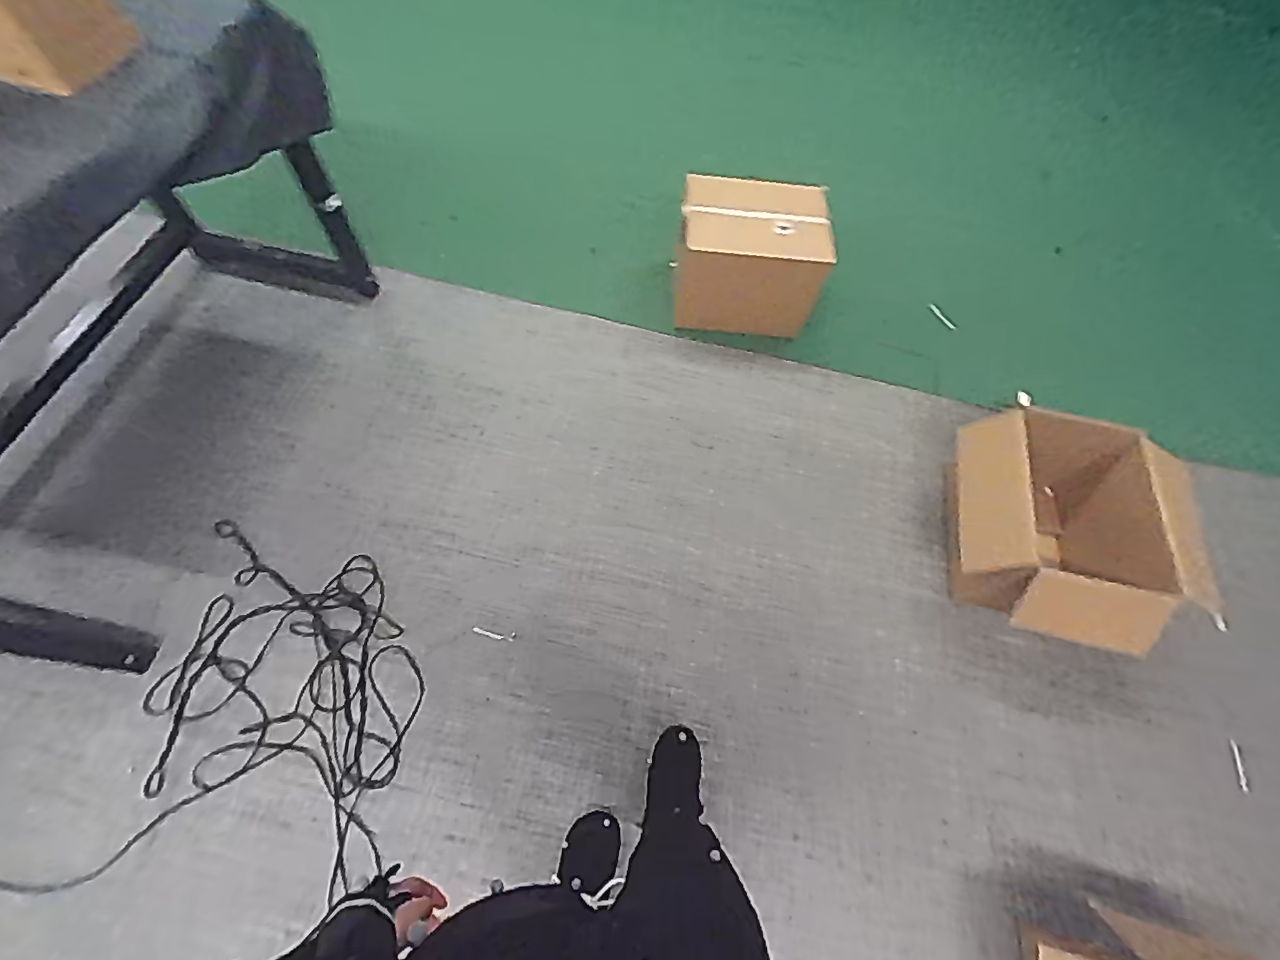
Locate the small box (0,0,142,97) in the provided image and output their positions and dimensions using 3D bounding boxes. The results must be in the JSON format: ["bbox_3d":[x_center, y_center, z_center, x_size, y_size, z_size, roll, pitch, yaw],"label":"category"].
[{"bbox_3d":[-0.946,-0.735,0.836,0.168,0.176,0.179,15,63,3],"label":"small box"}]
